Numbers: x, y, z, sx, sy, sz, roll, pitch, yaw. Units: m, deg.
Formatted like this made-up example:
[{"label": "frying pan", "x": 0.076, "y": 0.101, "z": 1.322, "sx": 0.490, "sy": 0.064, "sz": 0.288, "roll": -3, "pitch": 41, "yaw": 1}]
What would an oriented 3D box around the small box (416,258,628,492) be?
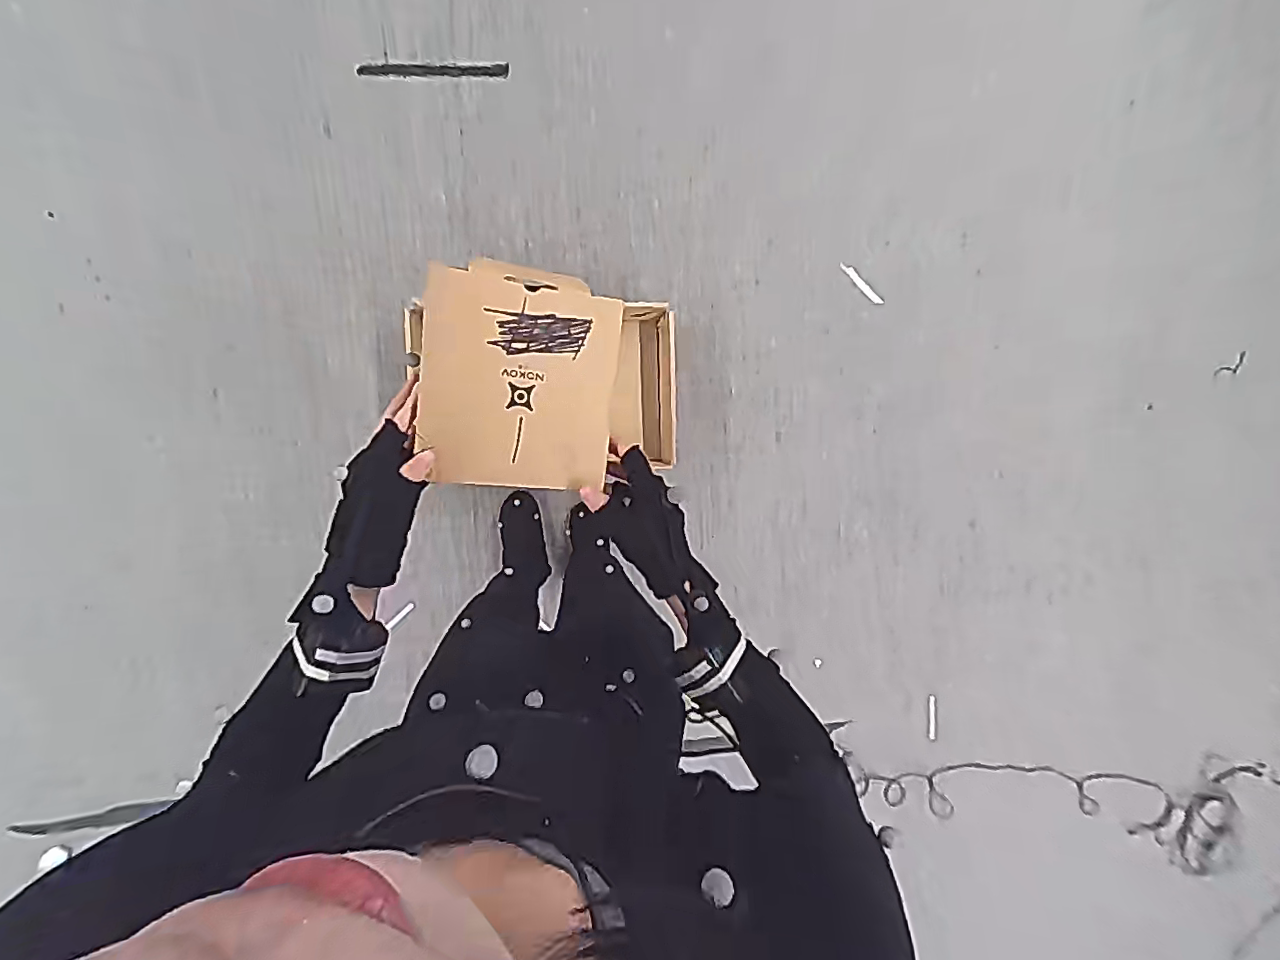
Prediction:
[{"label": "small box", "x": -0.123, "y": -0.090, "z": 0.525, "sx": 0.168, "sy": 0.176, "sz": 0.179, "roll": 4, "pitch": 97, "yaw": -22}]
